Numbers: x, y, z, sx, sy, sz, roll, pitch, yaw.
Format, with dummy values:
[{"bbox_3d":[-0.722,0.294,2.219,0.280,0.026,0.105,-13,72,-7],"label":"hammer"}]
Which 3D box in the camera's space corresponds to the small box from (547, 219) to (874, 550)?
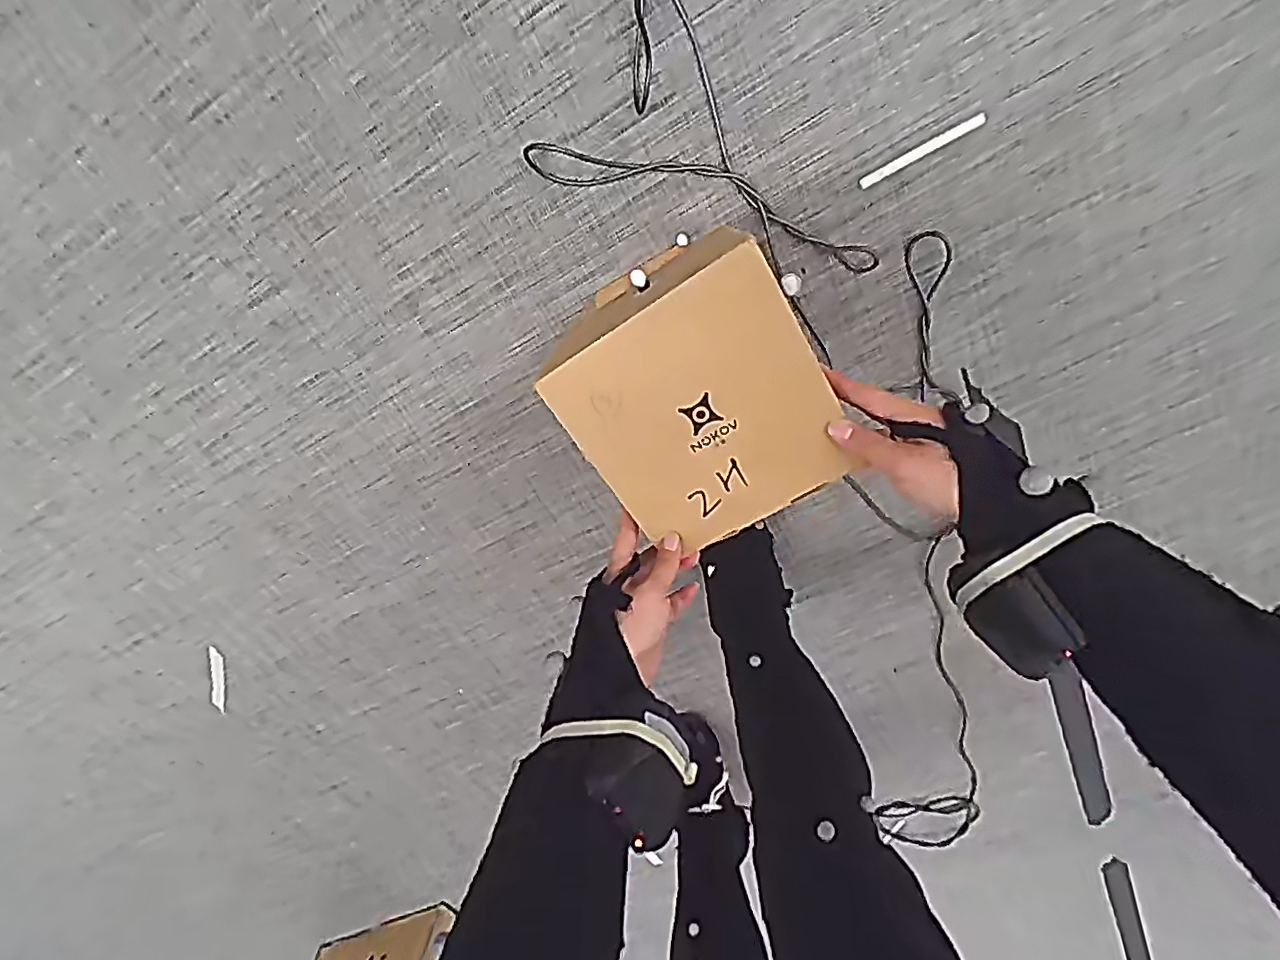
[{"bbox_3d":[0.051,-0.083,0.436,0.168,0.176,0.179,-29,113,15],"label":"small box"}]
